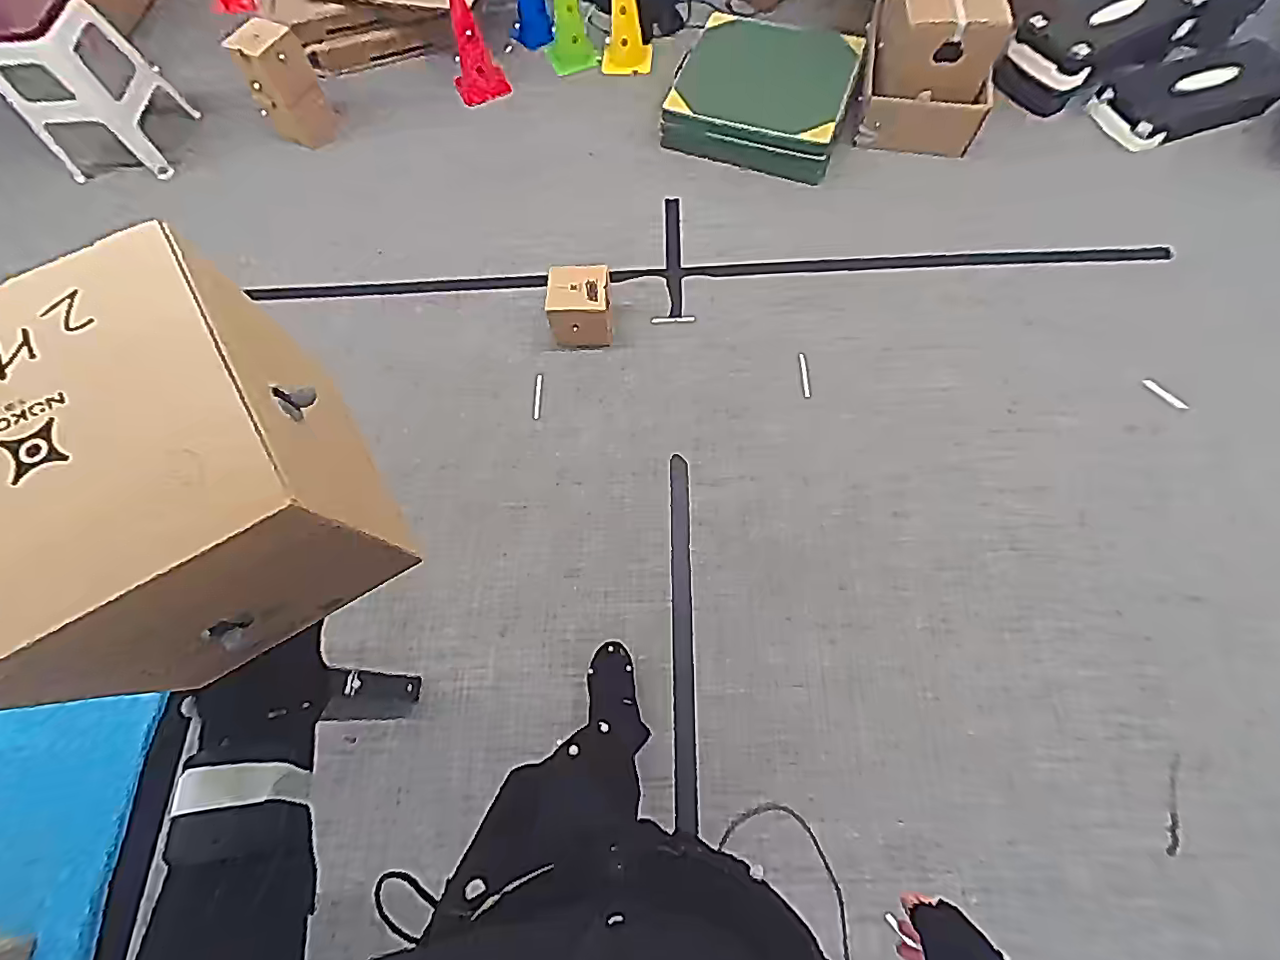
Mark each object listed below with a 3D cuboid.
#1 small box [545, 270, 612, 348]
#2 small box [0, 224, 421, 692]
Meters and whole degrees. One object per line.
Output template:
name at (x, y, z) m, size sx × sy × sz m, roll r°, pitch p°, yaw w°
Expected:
small box at (-0.180, -0.518, 1.652) m, size 0.179 × 0.176 × 0.168 m, roll 0°, pitch 67°, yaw 3°
small box at (-0.261, -0.001, 0.323) m, size 0.168 × 0.176 × 0.179 m, roll -29°, pitch 77°, yaw -11°
